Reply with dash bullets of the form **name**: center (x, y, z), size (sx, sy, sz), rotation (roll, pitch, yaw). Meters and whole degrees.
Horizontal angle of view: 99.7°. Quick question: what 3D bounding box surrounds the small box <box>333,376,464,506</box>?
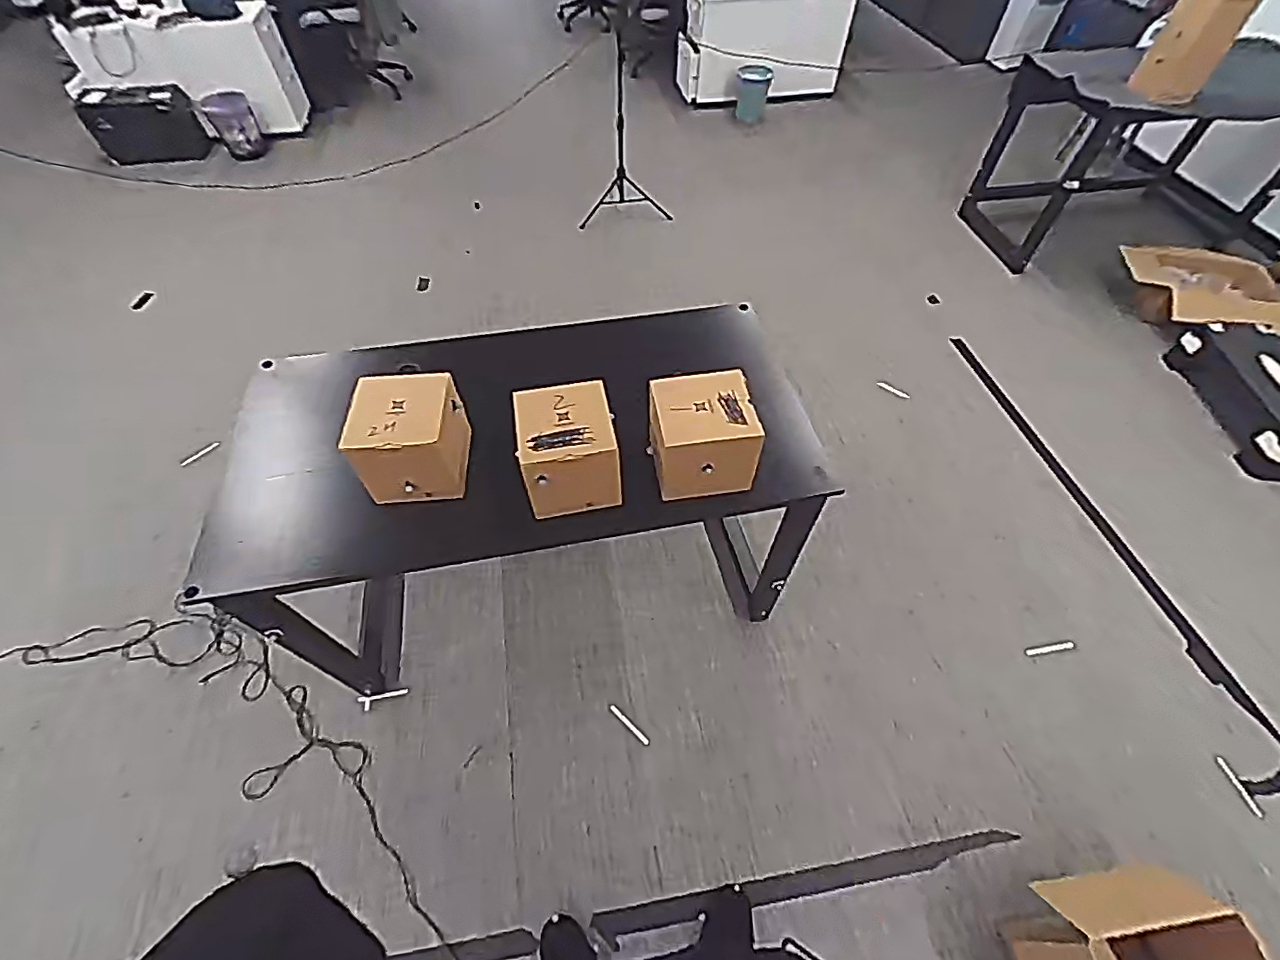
- **small box**: center (-0.437, -0.072, 1.015), size (0.168, 0.176, 0.179), rotation (-5, 55, -3)

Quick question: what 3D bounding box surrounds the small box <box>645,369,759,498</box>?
- **small box**: center (0.106, -0.084, 1.021), size (0.179, 0.176, 0.168), rotation (-8, 54, -4)
